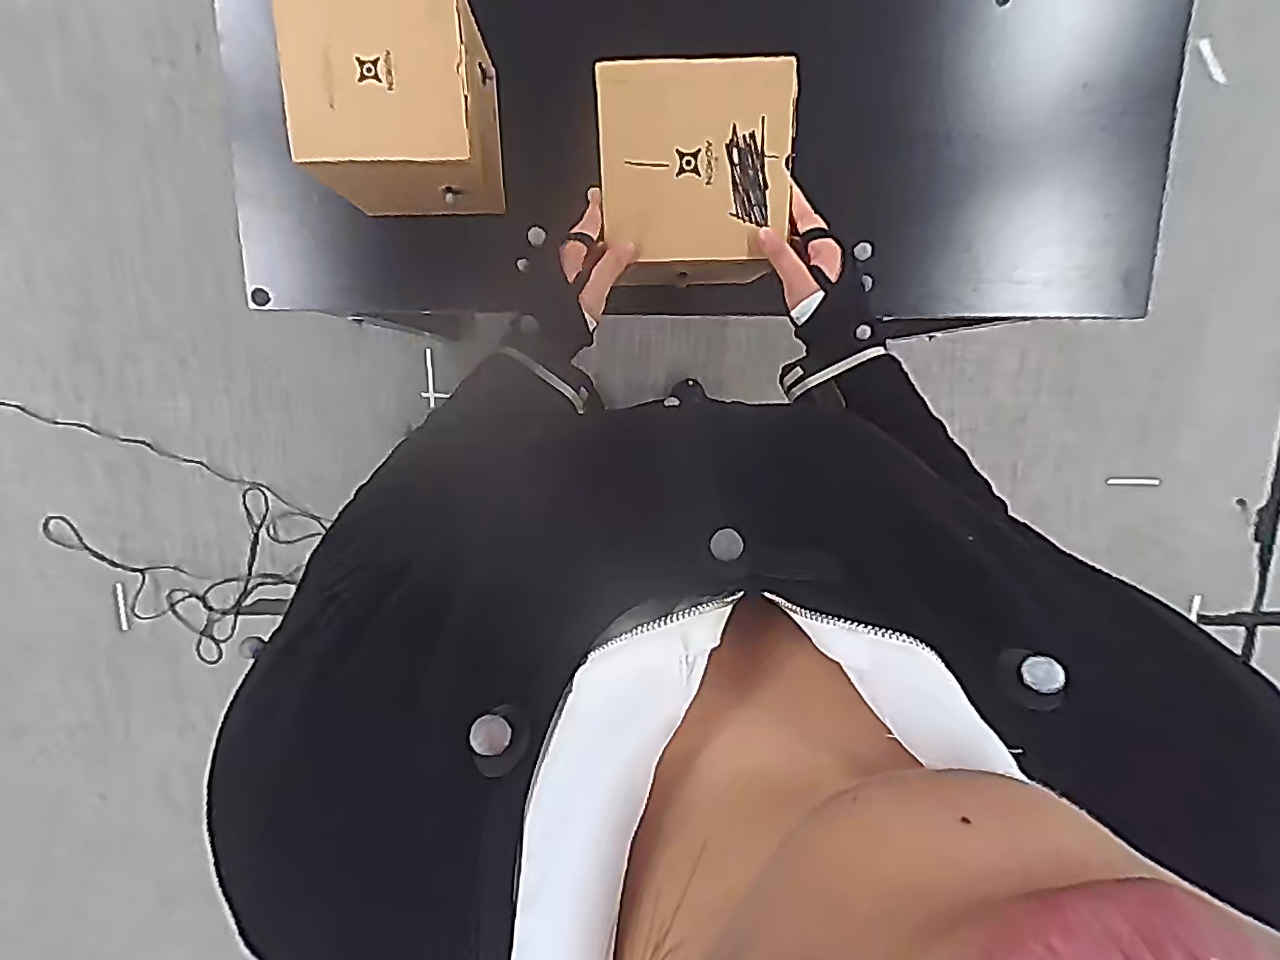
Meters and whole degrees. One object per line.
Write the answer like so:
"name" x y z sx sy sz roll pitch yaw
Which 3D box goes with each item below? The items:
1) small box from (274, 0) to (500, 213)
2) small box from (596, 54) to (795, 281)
"small box" -0.258 -0.409 0.597 0.179 0.176 0.168 -3 99 -2
"small box" 0.047 -0.305 0.562 0.179 0.176 0.168 -2 103 -1
